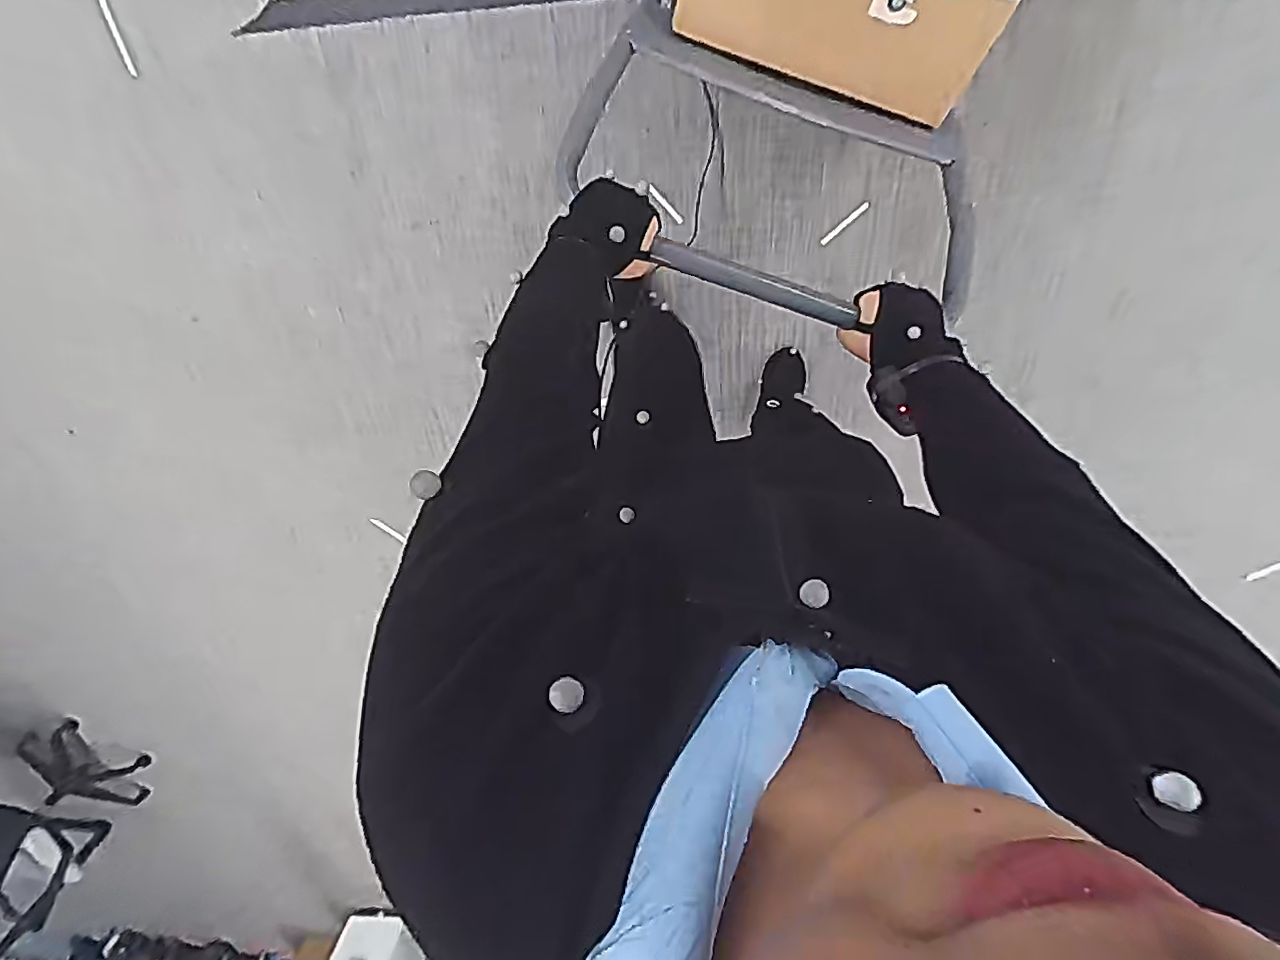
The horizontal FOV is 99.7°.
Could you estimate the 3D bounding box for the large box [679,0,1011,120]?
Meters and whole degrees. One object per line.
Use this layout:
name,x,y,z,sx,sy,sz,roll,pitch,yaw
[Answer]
large box,0.299,-0.771,0.735,0.408,0.320,0.320,17,145,-4
